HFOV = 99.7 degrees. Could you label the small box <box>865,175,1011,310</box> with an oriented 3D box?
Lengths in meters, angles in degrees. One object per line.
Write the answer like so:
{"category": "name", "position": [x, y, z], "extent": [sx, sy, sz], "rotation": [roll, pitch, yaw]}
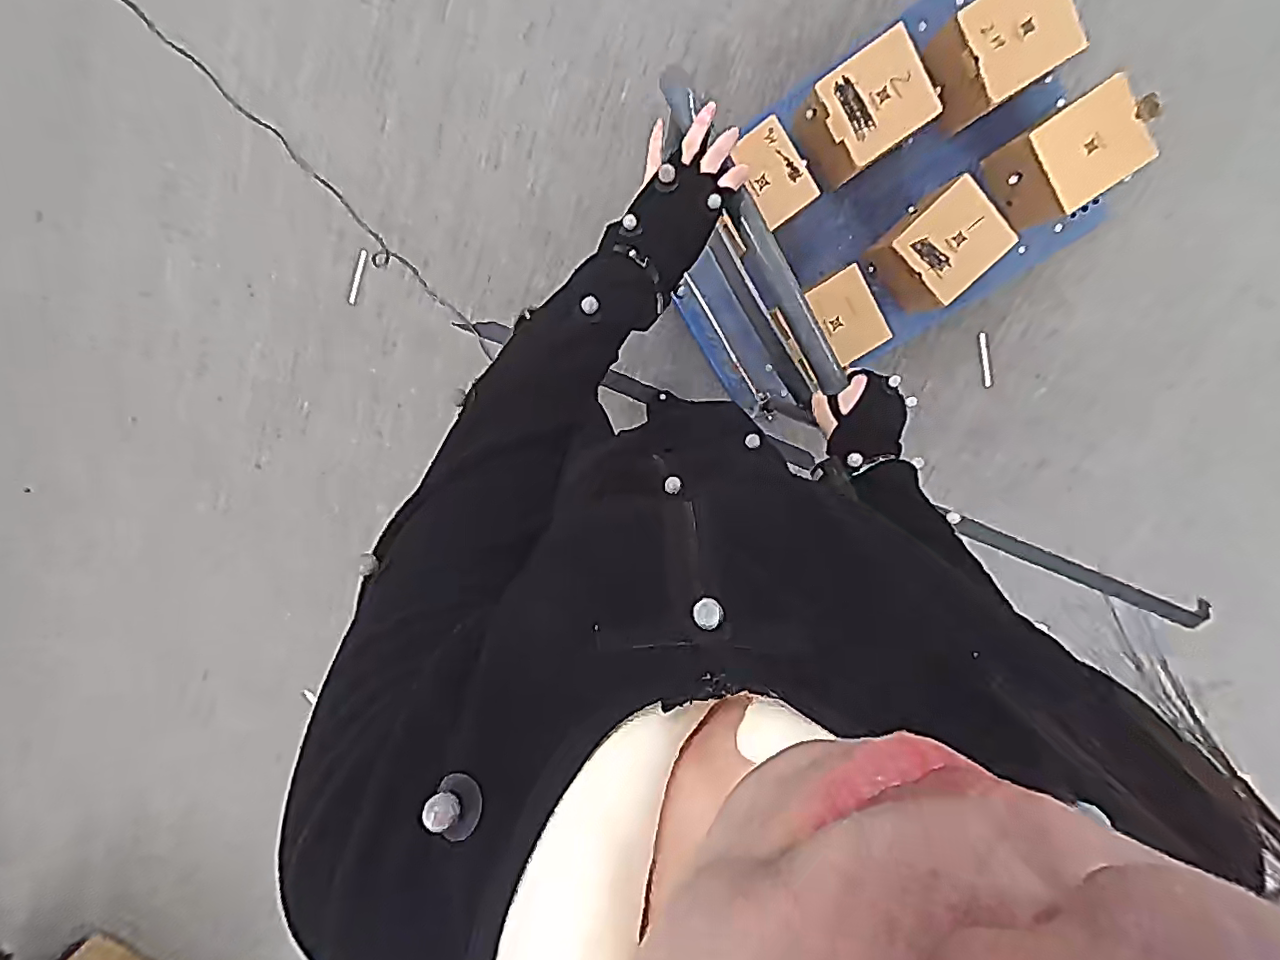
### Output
{"category": "small box", "position": [0.589, -0.468, 1.102], "extent": [0.179, 0.176, 0.168], "rotation": [-43, 99, 10]}

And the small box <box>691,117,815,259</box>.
{"category": "small box", "position": [0.216, -0.569, 1.085], "extent": [0.179, 0.176, 0.168], "rotation": [-34, 102, 9]}

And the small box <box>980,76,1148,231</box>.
{"category": "small box", "position": [0.810, -0.621, 1.059], "extent": [0.179, 0.176, 0.168], "rotation": [-34, 100, 9]}

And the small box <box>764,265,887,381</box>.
{"category": "small box", "position": [0.378, -0.326, 1.145], "extent": [0.179, 0.176, 0.168], "rotation": [-31, 102, 8]}

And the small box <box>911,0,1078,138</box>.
{"category": "small box", "position": [0.656, -0.794, 1.019], "extent": [0.179, 0.176, 0.168], "rotation": [-29, 101, 9]}
